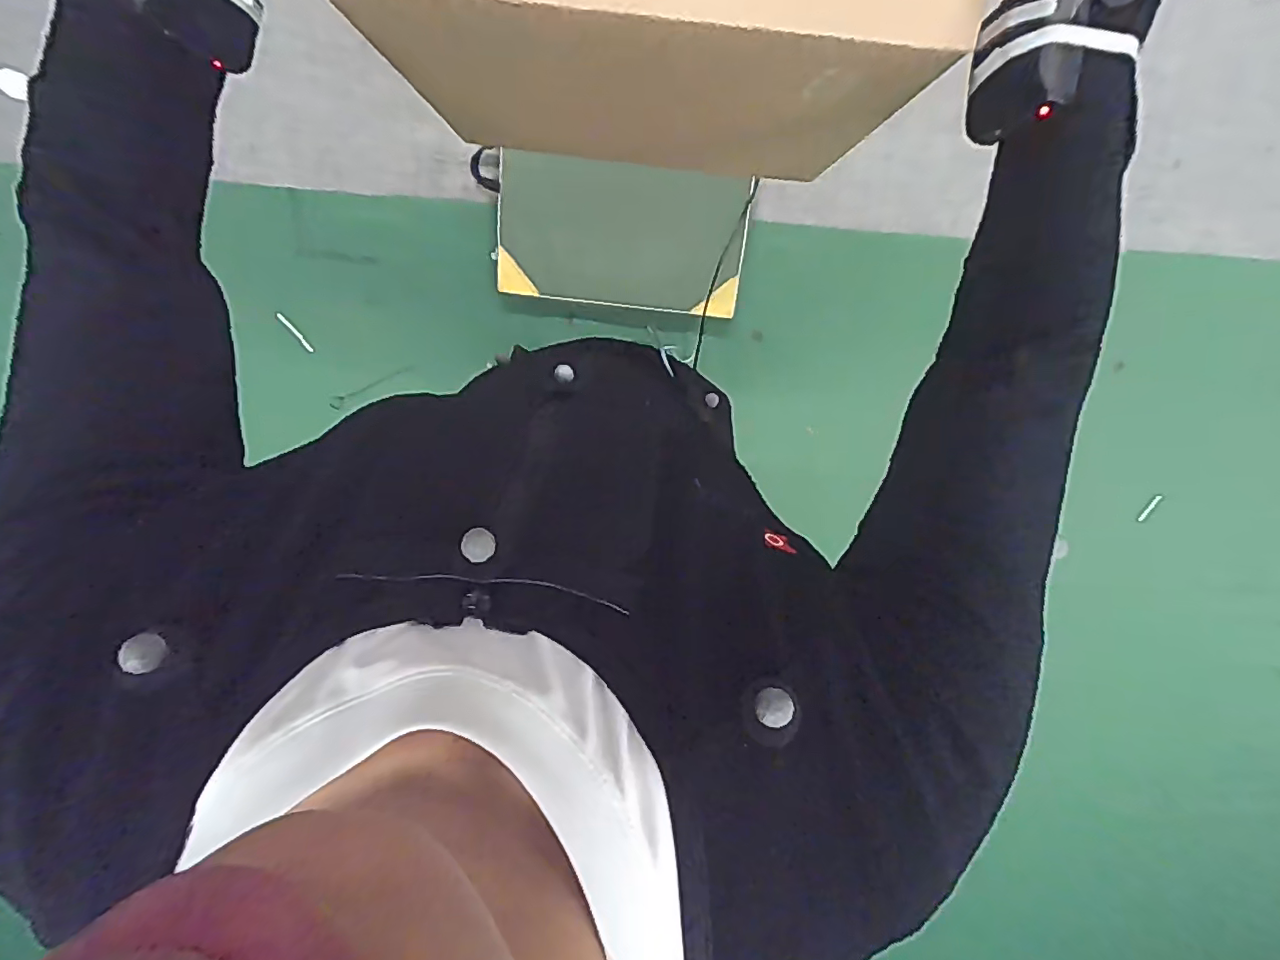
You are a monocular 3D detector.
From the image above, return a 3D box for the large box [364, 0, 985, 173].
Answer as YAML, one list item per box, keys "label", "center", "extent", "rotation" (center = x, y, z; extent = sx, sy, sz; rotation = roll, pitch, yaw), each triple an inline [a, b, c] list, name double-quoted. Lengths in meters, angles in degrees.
- label: "large box"
  center: [0.022, -0.473, 0.437]
  extent: [0.408, 0.320, 0.320]
  rotation: [5, 107, -3]
